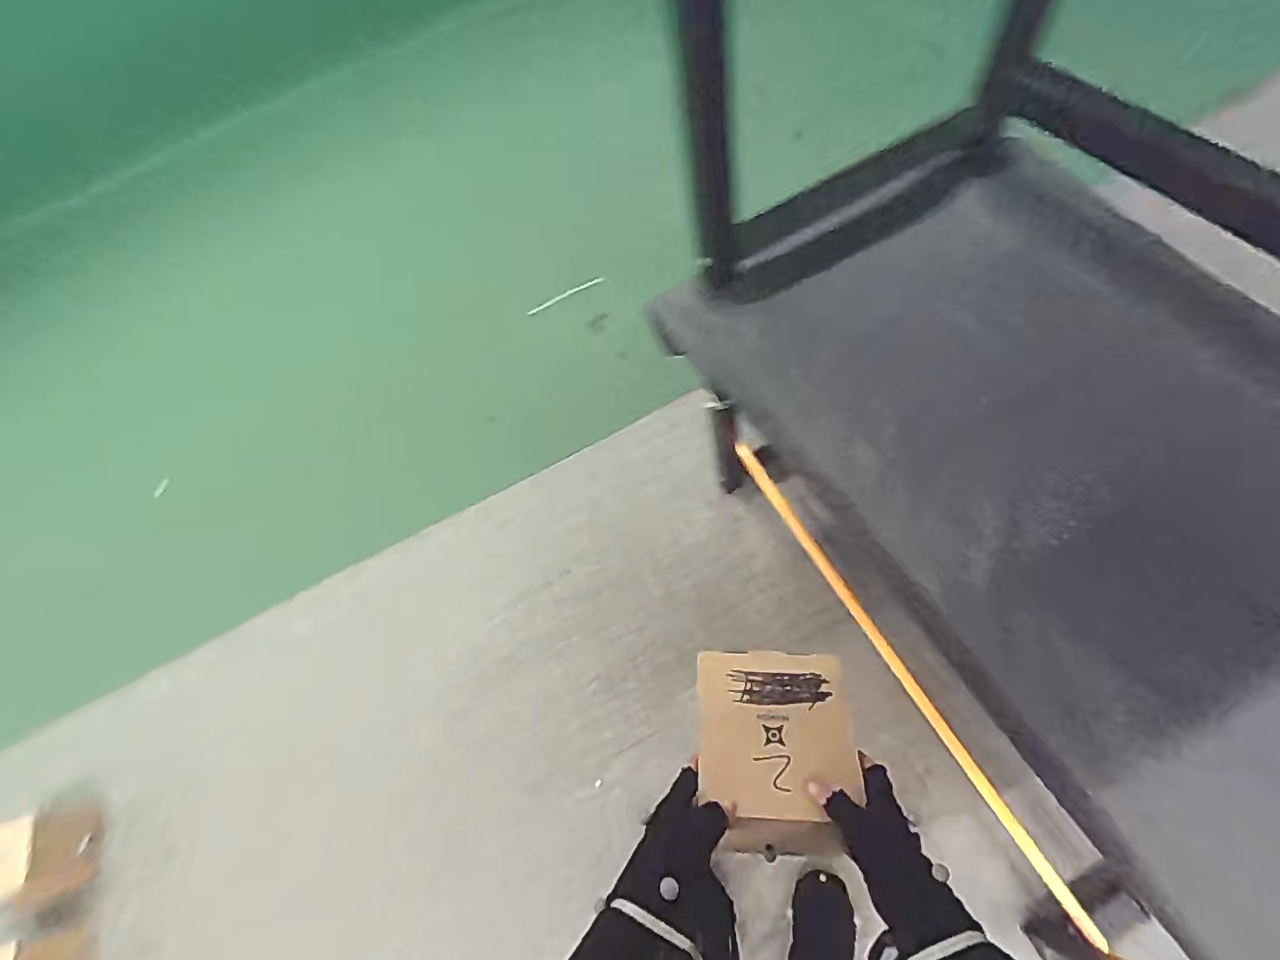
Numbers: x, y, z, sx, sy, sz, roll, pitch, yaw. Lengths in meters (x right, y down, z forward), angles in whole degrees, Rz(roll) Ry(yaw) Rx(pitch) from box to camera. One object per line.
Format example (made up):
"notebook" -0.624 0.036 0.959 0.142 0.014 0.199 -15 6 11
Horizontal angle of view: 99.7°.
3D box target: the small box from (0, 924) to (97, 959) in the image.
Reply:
"small box" -1.378 1.140 1.207 0.179 0.176 0.168 -28 60 -4

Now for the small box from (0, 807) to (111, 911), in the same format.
"small box" -1.482 0.937 1.338 0.179 0.176 0.168 -27 60 -4
